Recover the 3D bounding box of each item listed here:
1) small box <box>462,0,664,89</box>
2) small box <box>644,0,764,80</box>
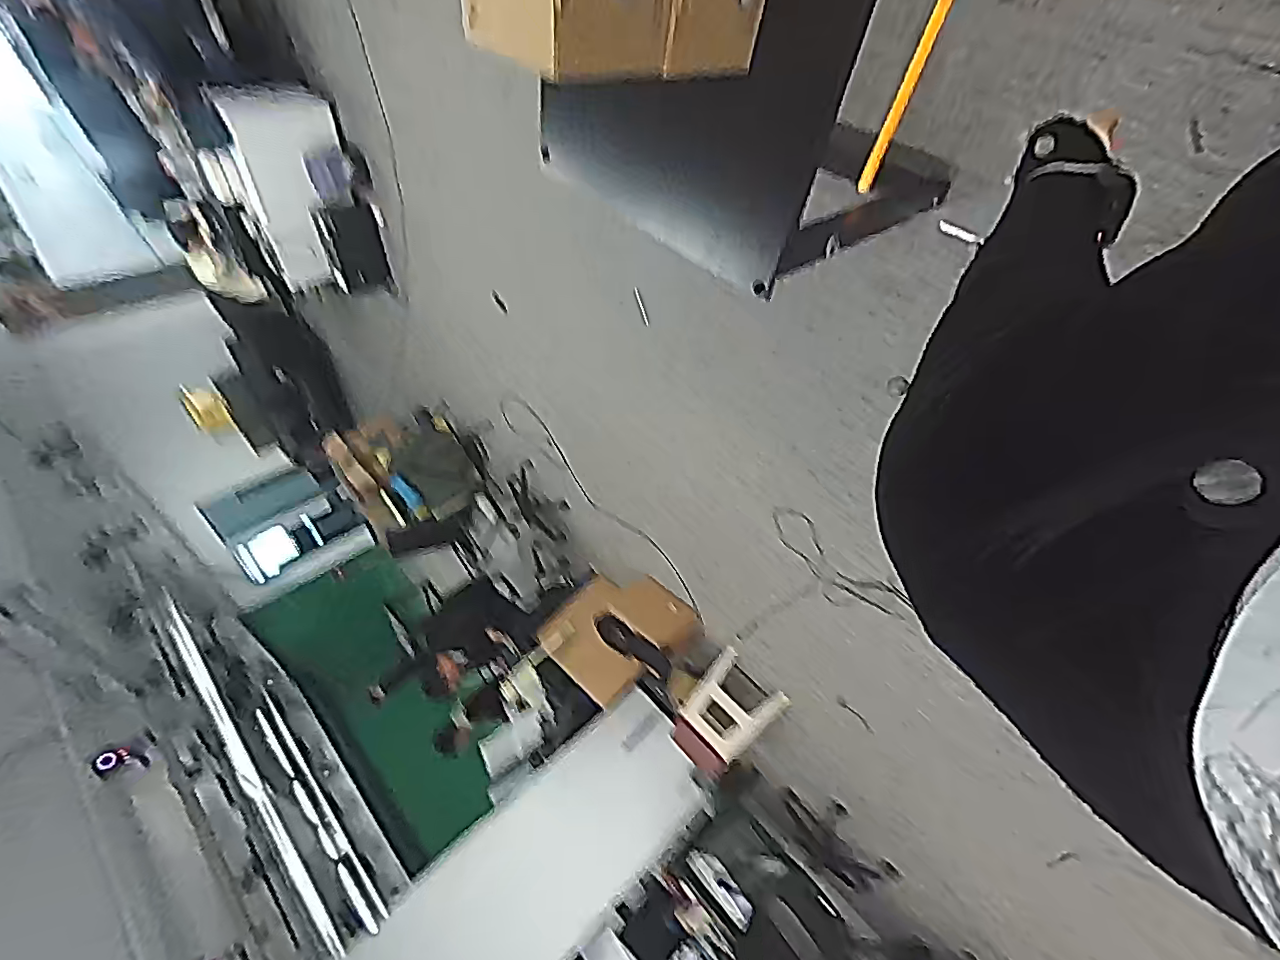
[{"bbox_3d":[-0.081,-0.559,0.596,0.179,0.176,0.168,40,144,25],"label":"small box"},{"bbox_3d":[0.043,-0.629,0.679,0.179,0.176,0.168,42,145,23],"label":"small box"}]
